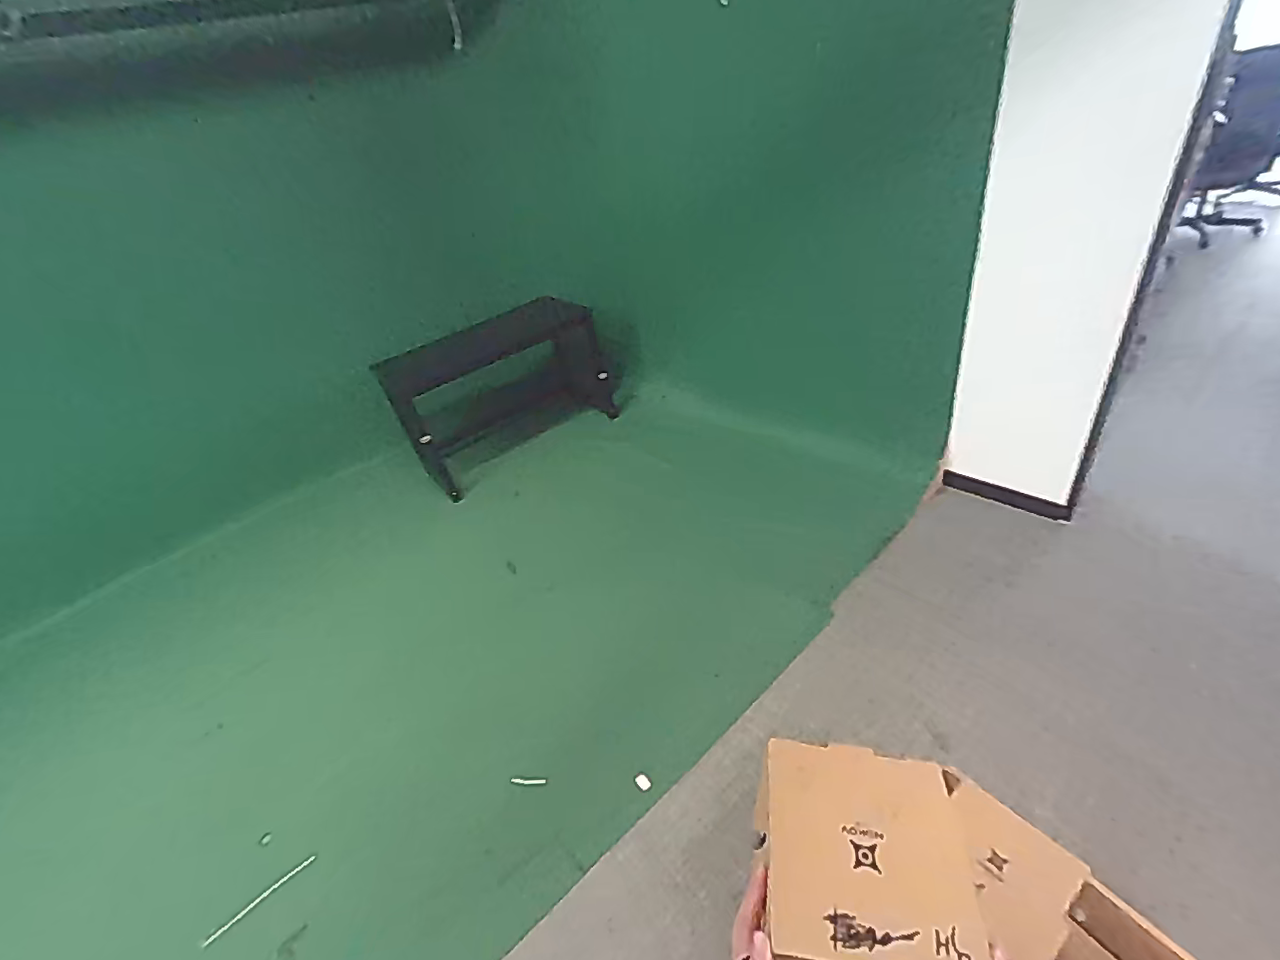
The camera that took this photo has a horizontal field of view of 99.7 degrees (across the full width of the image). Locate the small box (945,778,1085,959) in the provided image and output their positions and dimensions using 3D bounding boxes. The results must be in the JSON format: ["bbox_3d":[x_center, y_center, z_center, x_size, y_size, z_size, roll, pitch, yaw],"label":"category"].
[{"bbox_3d":[0.500,0.596,0.797,0.179,0.176,0.168,-32,40,-23],"label":"small box"}]

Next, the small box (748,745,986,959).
[{"bbox_3d":[0.195,0.393,0.517,0.168,0.176,0.179,5,36,8],"label":"small box"}]
